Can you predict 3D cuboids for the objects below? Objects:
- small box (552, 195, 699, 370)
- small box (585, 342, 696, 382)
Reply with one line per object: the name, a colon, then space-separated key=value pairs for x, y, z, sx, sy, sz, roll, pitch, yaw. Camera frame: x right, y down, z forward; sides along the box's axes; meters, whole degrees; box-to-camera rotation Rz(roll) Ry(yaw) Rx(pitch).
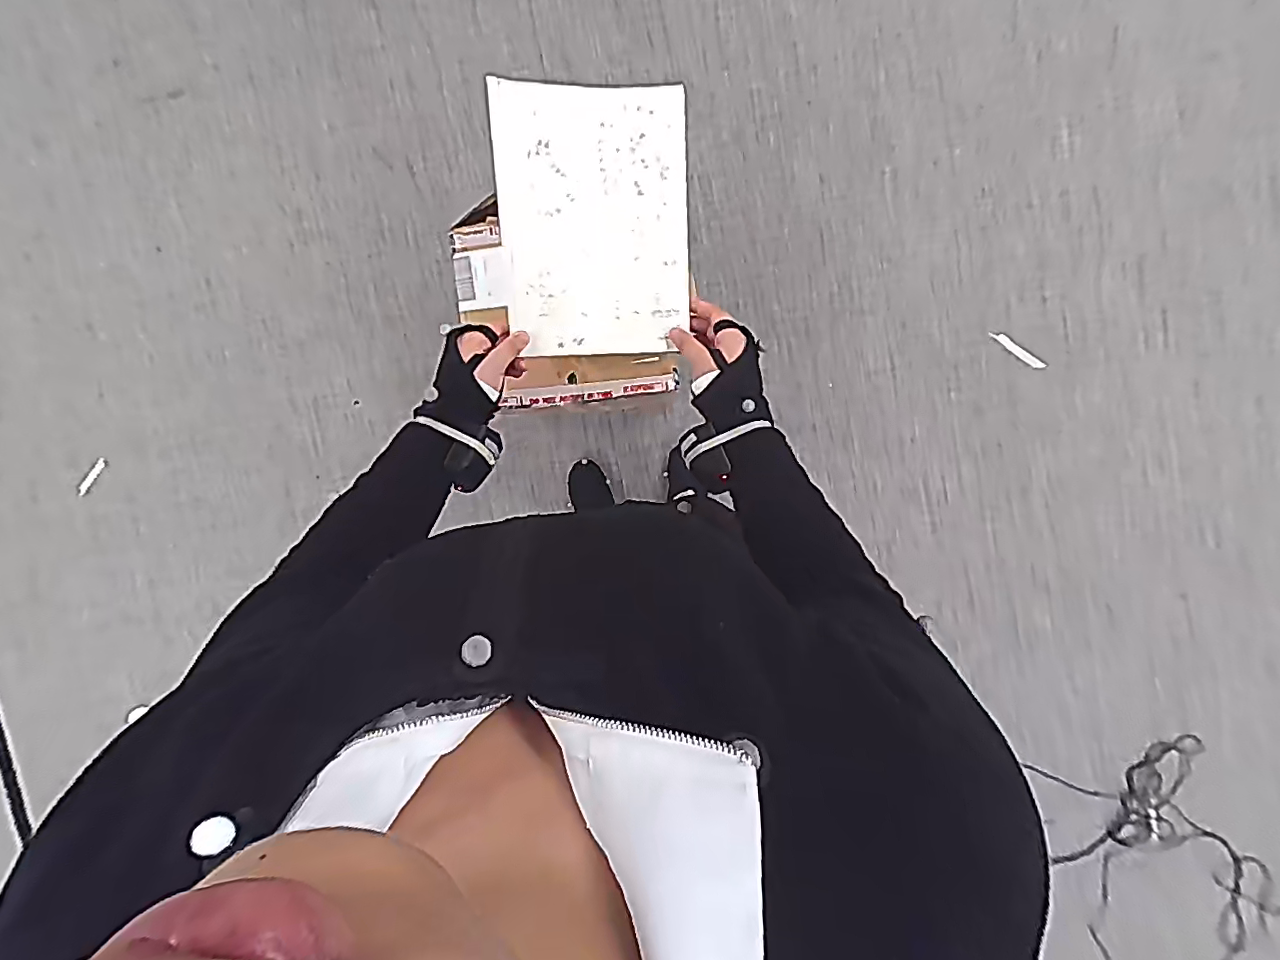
small box: x=-0.018 y=-0.260 z=0.752 sx=0.168 sy=0.176 sz=0.179 roll=-9 pitch=95 yaw=2
small box: x=-0.011 y=-0.268 z=0.916 sx=0.179 sy=0.176 sz=0.168 roll=-12 pitch=95 yaw=3
